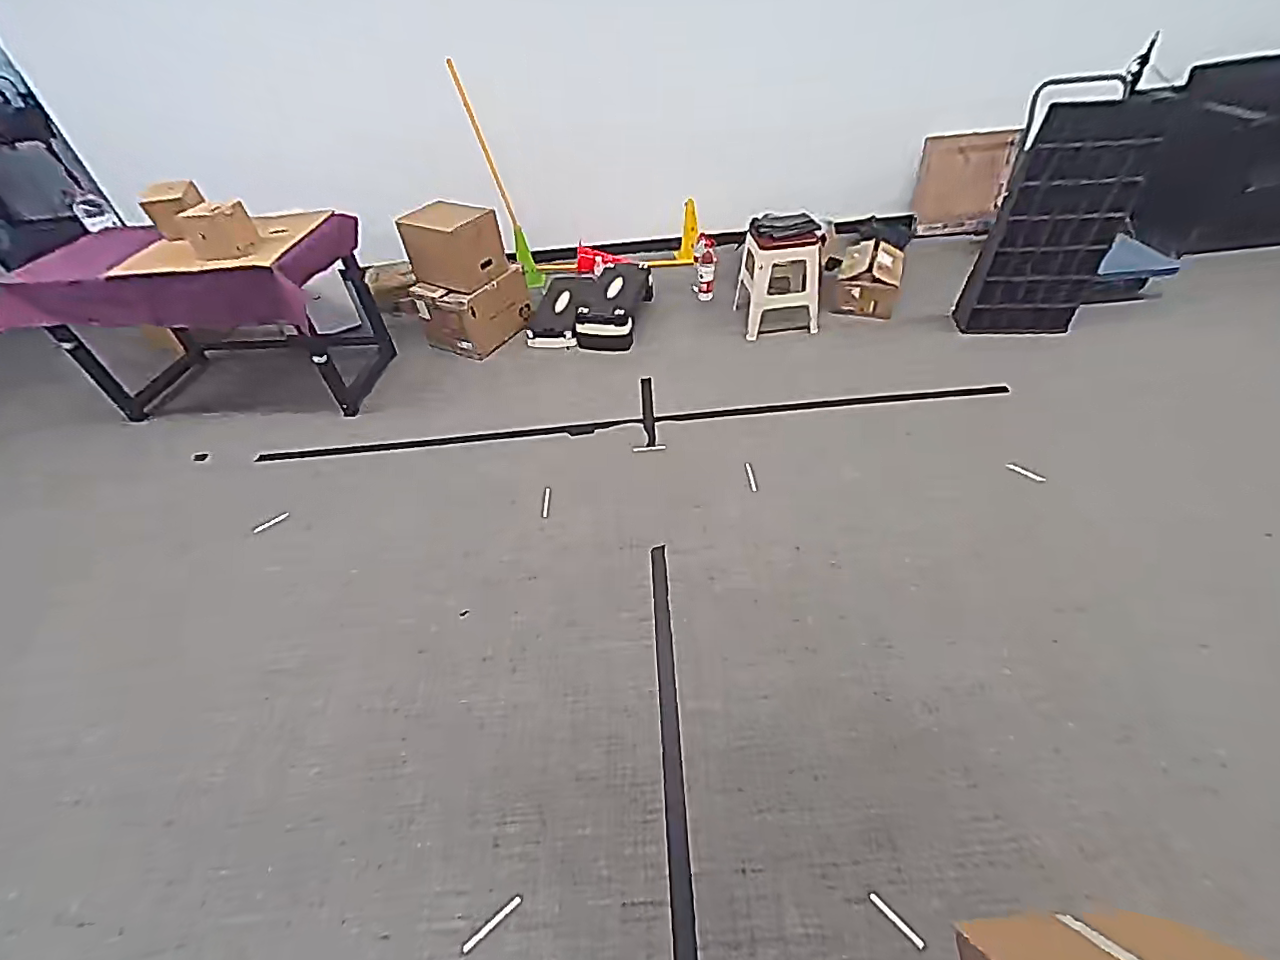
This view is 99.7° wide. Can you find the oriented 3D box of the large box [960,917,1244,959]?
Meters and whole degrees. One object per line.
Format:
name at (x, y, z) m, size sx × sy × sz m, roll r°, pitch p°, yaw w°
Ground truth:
large box at (0.608, 0.725, 0.560) m, size 0.320 × 0.408 × 0.320 m, roll -4°, pitch 69°, yaw 6°
